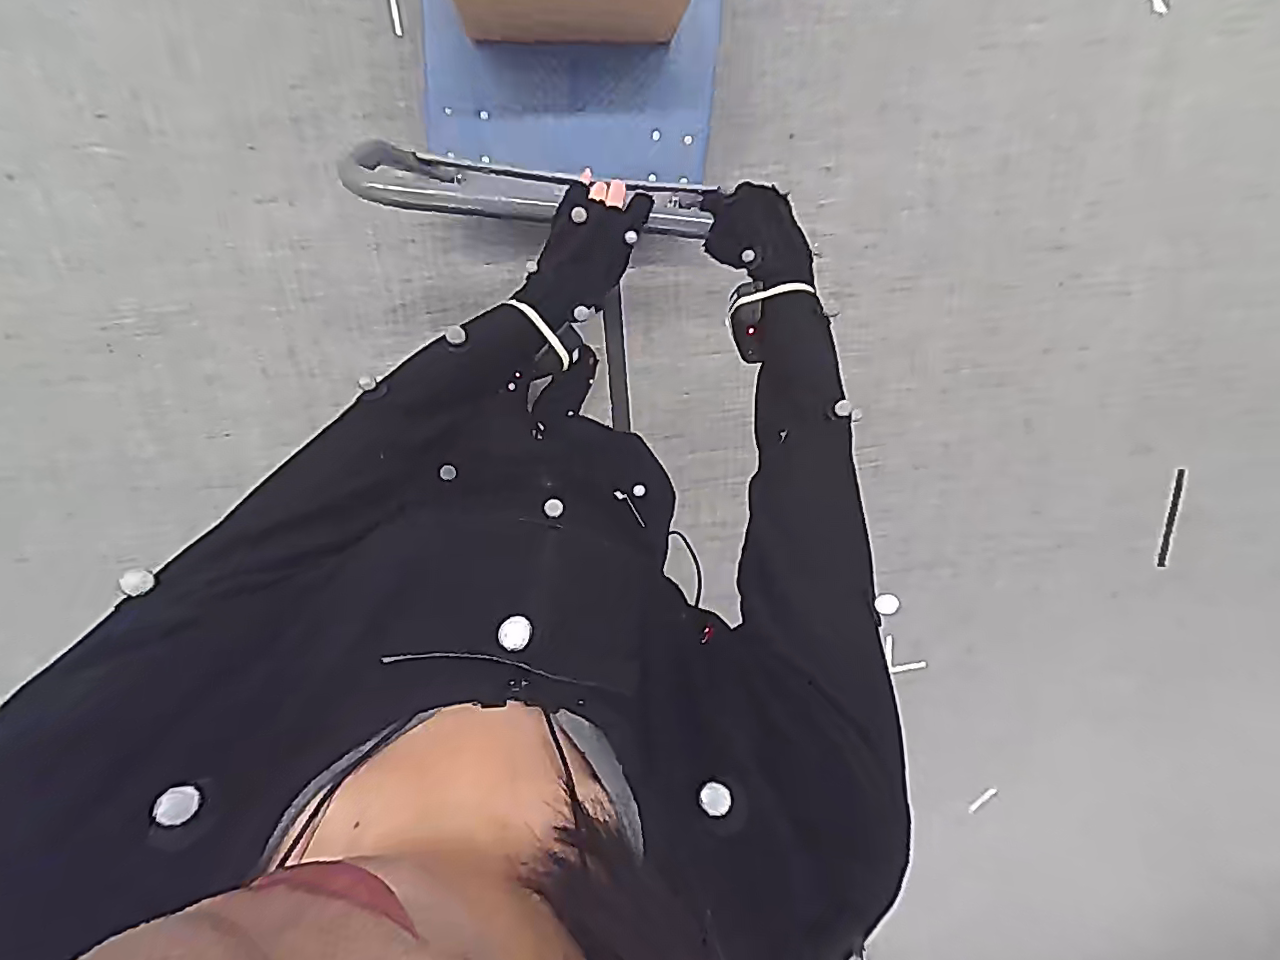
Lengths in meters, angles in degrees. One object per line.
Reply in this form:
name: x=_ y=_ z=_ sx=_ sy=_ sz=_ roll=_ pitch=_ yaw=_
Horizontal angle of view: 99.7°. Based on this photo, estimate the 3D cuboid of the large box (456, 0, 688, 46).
large box: x=-0.122 y=-0.952 z=0.875 sx=0.408 sy=0.320 sz=0.320 roll=-6 pitch=113 yaw=-6
